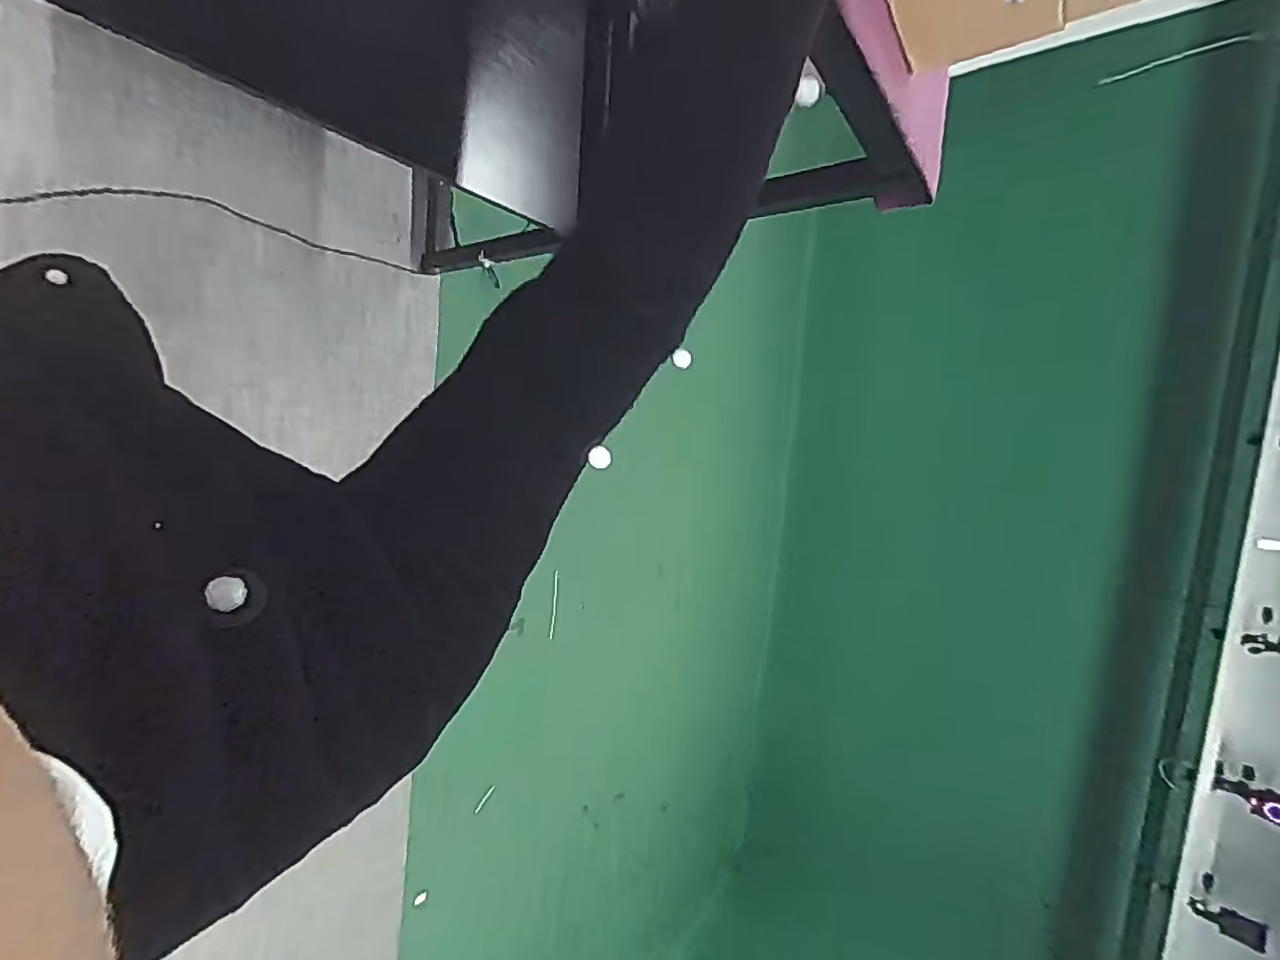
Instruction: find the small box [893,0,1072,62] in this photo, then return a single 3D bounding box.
[{"bbox_3d":[0.387,-0.620,0.604,0.179,0.176,0.168,3,95,-53],"label":"small box"}]
